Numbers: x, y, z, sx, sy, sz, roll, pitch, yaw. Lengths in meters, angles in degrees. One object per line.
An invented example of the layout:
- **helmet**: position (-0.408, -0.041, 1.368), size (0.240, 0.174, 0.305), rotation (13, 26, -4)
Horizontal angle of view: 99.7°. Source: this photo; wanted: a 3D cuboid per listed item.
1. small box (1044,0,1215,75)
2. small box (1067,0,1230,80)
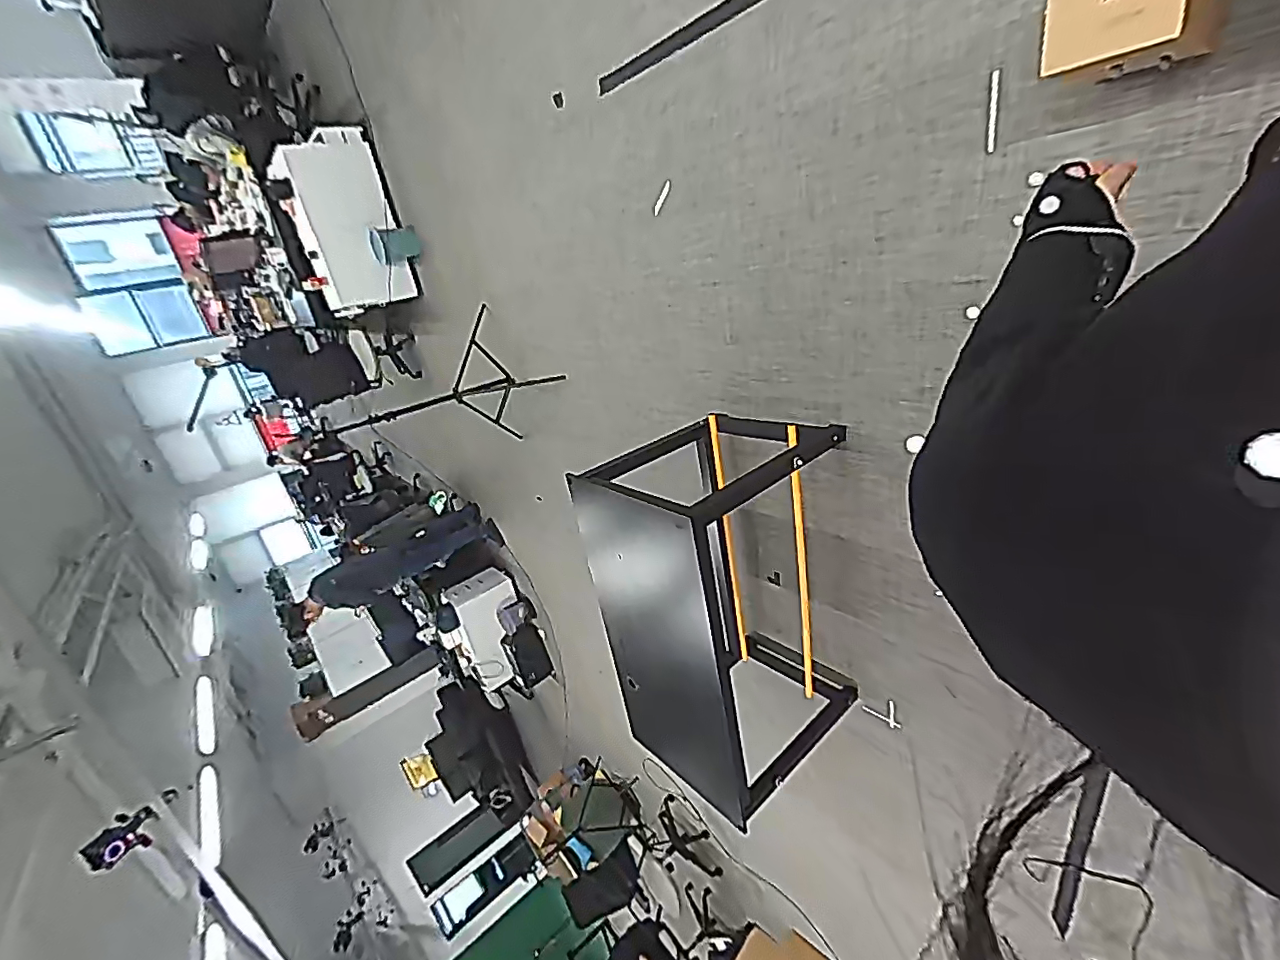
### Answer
- **small box**: position (0.742, -0.736, 0.811), size (0.168, 0.176, 0.179), rotation (19, 128, 49)
- **small box**: position (0.861, -0.795, 0.905), size (0.179, 0.176, 0.168), rotation (20, 127, 48)
